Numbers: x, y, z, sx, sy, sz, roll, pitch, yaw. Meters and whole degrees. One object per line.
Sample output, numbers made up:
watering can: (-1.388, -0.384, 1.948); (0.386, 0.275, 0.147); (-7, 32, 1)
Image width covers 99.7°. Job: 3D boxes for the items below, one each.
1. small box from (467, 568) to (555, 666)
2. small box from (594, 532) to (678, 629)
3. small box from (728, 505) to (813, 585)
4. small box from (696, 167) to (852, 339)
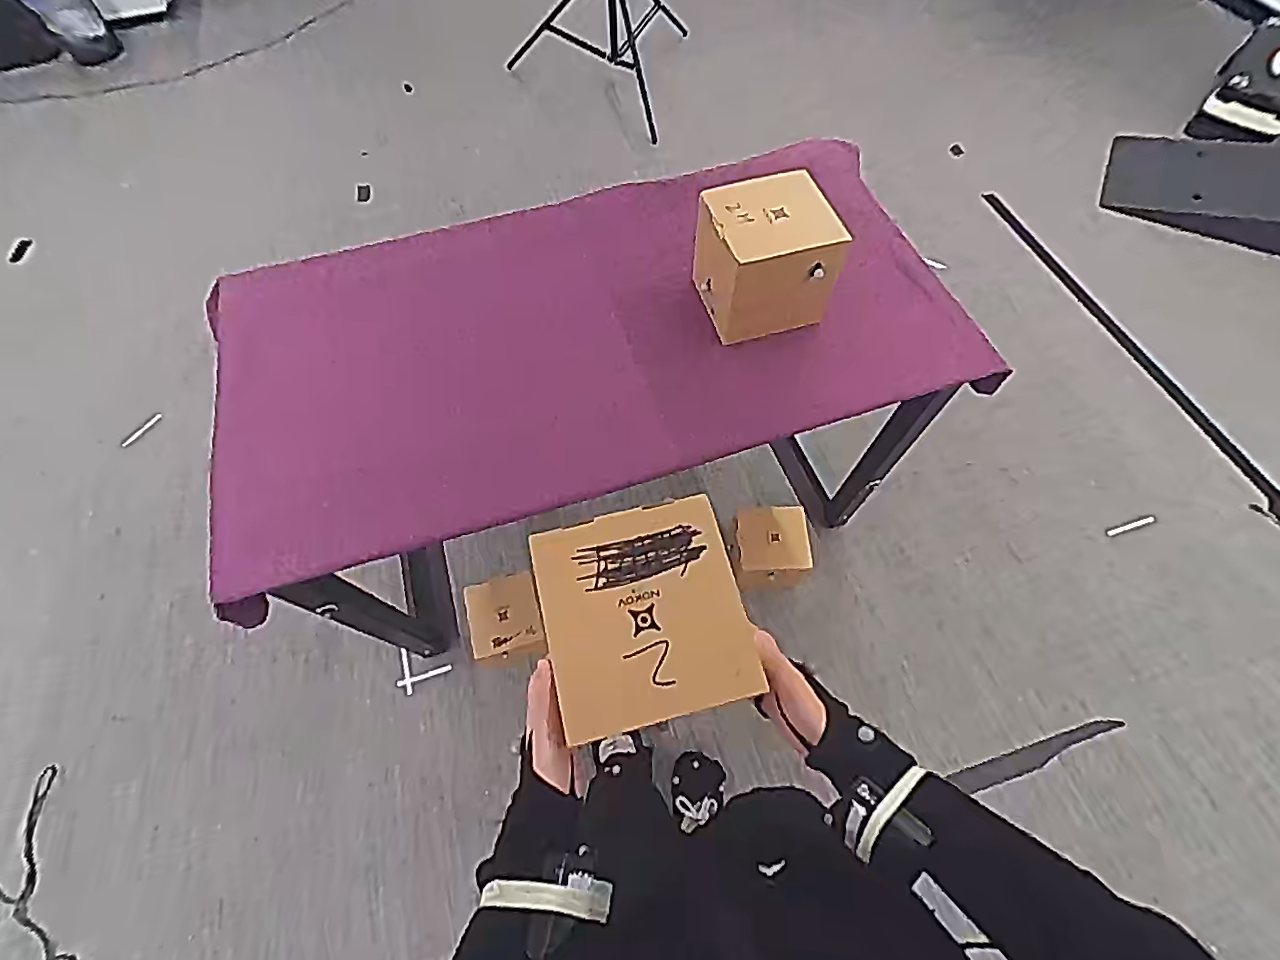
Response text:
small box: (-0.315, 0.343, 1.337); (0.168, 0.176, 0.179); (-15, 63, -6)
small box: (-0.012, 0.259, 1.372); (0.168, 0.176, 0.179); (-17, 65, -7)
small box: (0.333, 0.173, 1.409); (0.179, 0.176, 0.168); (-2, 64, 1)
small box: (0.198, -0.352, 0.857); (0.179, 0.176, 0.168); (-15, 63, -6)
